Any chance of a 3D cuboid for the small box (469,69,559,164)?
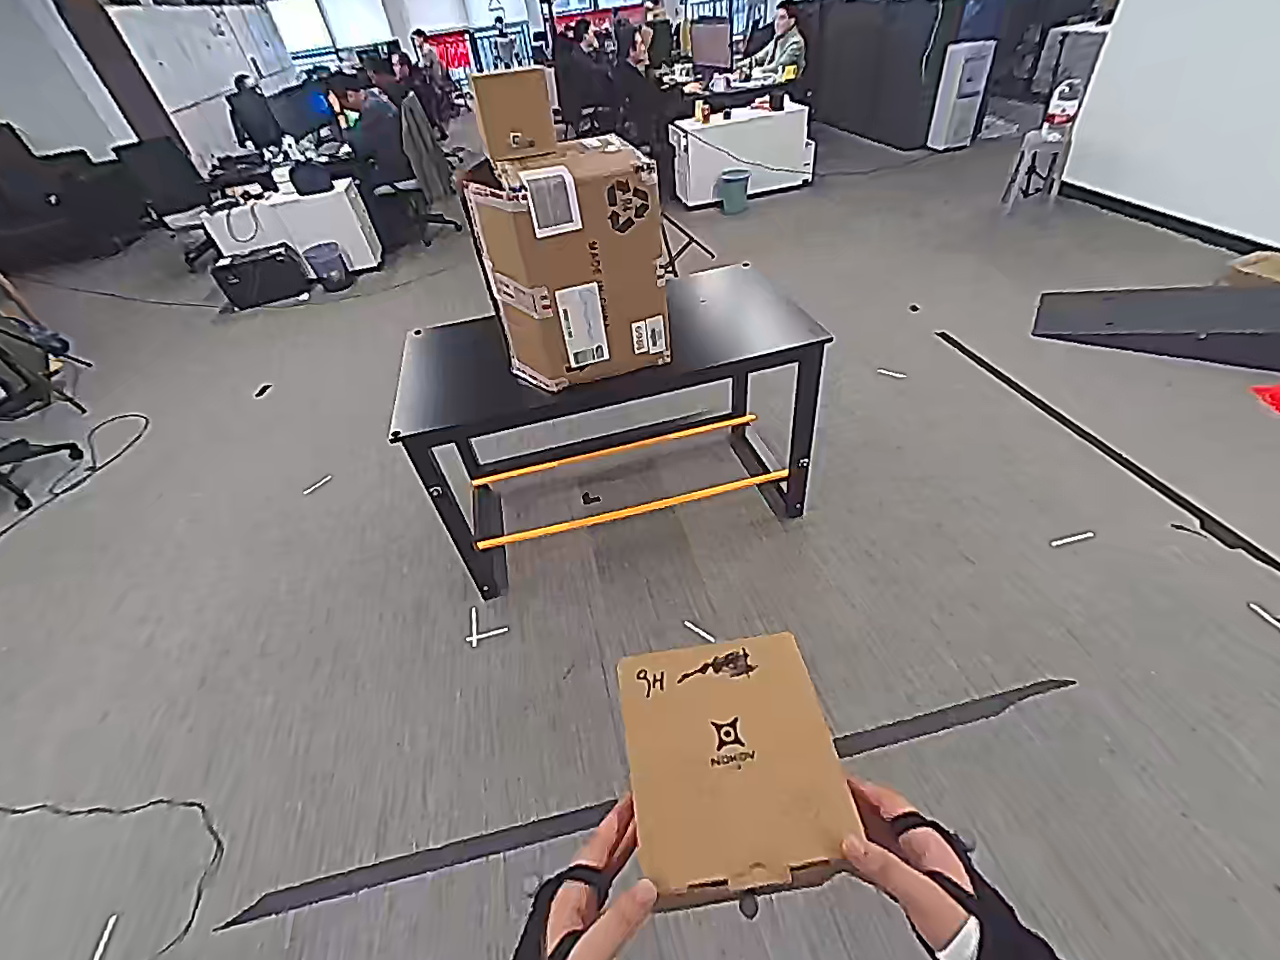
[{"bbox_3d":[-0.302,-0.874,1.300,0.168,0.176,0.179,-17,41,-10],"label":"small box"}]
